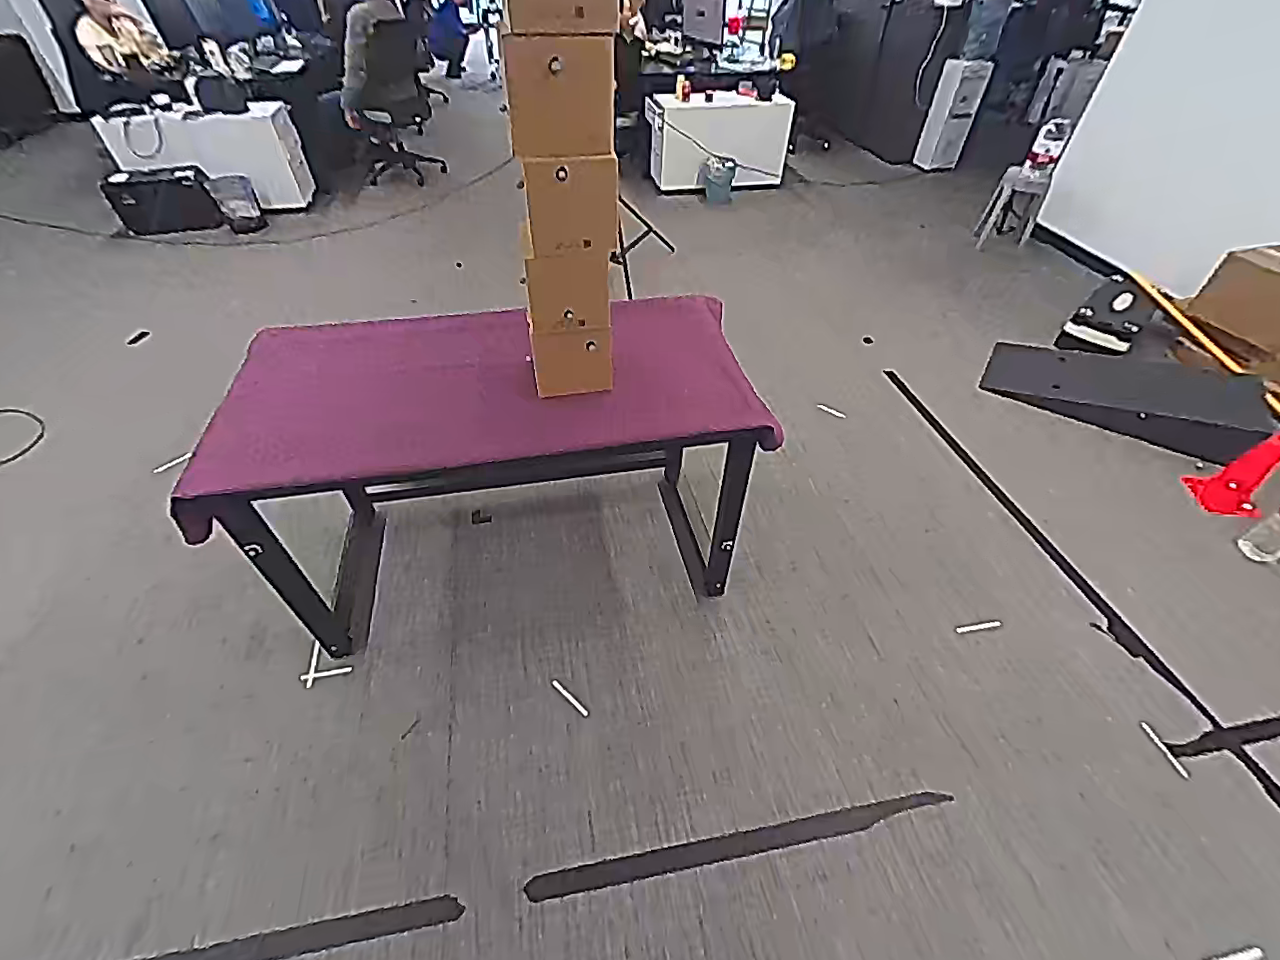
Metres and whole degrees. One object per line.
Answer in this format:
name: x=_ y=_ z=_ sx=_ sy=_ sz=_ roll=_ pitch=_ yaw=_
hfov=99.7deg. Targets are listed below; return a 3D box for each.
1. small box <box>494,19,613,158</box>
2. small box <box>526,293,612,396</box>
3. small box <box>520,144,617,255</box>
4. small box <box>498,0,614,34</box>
small box: x=-0.146 y=-0.671 z=0.929 sx=0.179 sy=0.176 sz=0.168 roll=-9 pitch=47 yaw=-10
small box: x=-0.165 y=-0.318 z=1.268 sx=0.179 sy=0.176 sz=0.168 roll=-9 pitch=46 yaw=-9
small box: x=-0.140 y=-0.550 z=1.038 sx=0.168 sy=0.176 sz=0.179 roll=-9 pitch=46 yaw=-10
small box: x=-0.135 y=-0.788 z=0.817 sx=0.168 sy=0.176 sz=0.179 roll=-9 pitch=46 yaw=-12
